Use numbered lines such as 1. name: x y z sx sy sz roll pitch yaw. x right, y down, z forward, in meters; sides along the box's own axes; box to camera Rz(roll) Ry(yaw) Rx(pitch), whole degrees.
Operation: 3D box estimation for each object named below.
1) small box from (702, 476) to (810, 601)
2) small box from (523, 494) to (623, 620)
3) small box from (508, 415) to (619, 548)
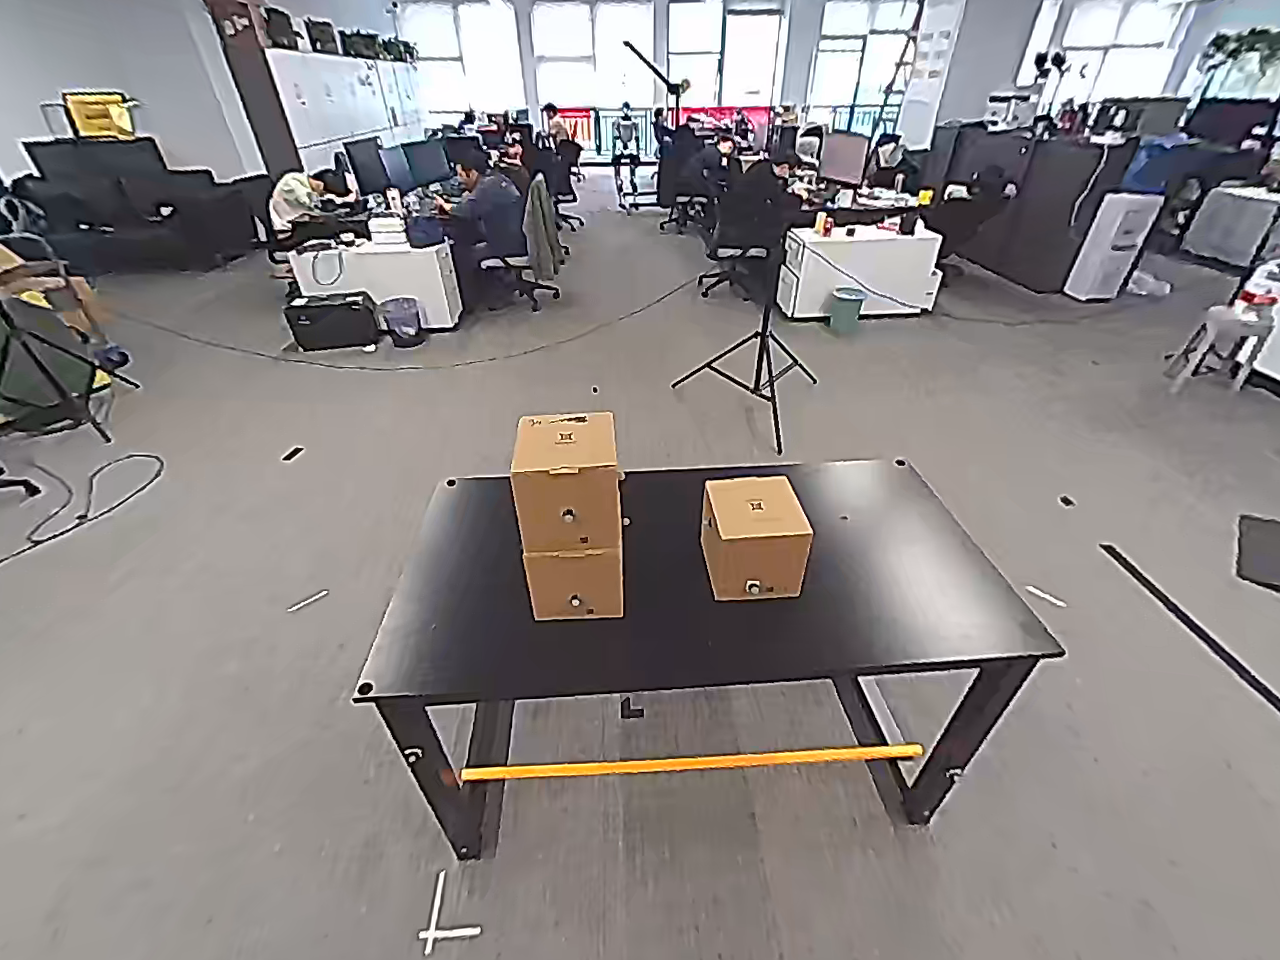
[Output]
1. small box: 0.216 0.114 1.063 0.168 0.176 0.179 -5 37 -3
2. small box: -0.119 0.144 1.030 0.168 0.176 0.179 -3 36 -1
3. small box: -0.125 0.005 0.941 0.168 0.176 0.179 -4 36 -3
